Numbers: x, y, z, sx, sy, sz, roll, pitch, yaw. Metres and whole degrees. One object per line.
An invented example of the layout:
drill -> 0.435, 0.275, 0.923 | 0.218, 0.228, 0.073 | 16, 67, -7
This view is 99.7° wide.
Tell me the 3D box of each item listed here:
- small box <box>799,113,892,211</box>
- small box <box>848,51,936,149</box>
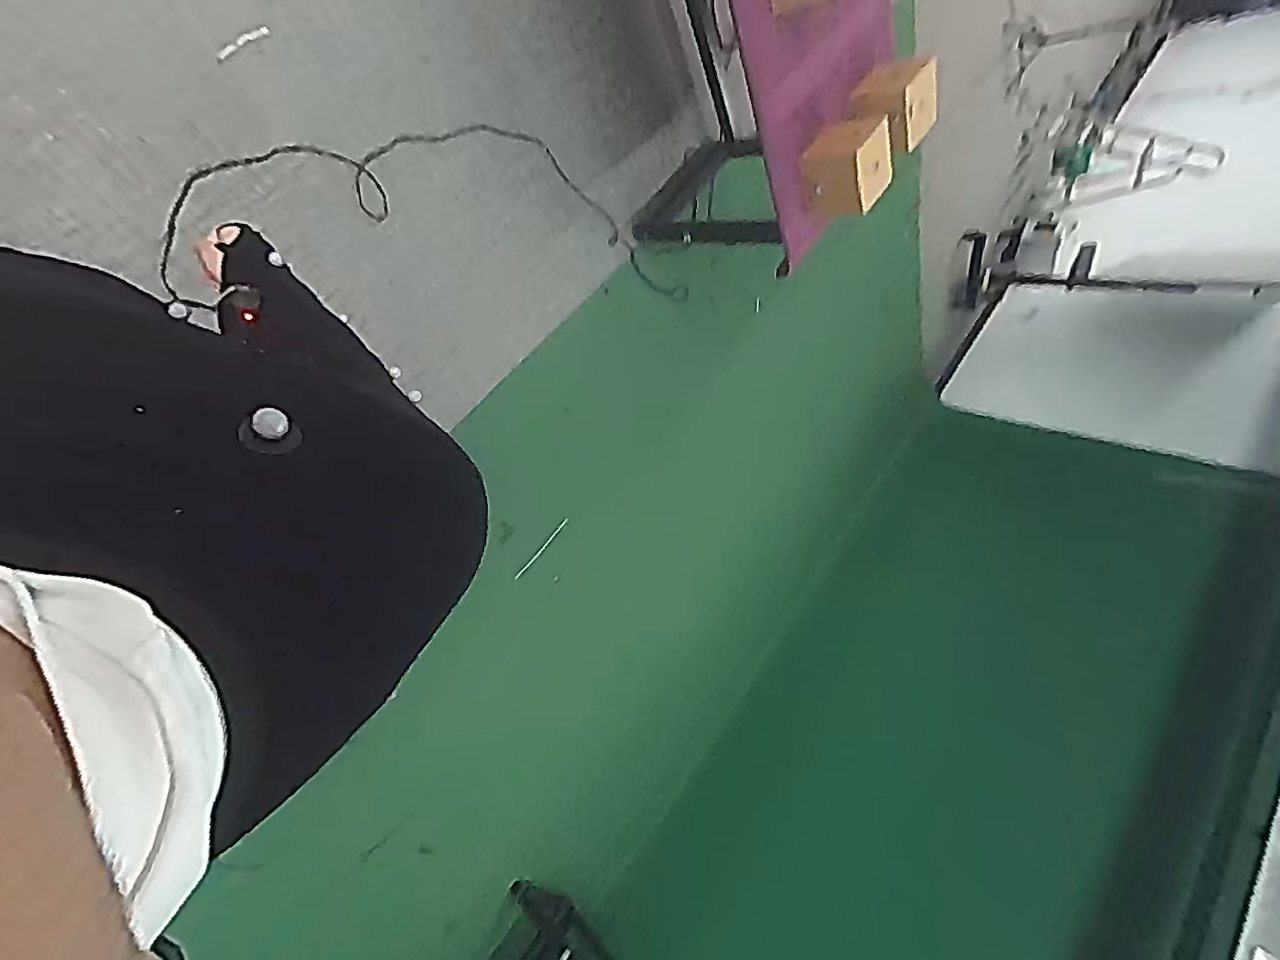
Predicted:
small box -> 0.553, -0.850, 1.456 | 0.179, 0.176, 0.168 | -50, 135, -18
small box -> 0.713, -1.065, 1.529 | 0.179, 0.176, 0.168 | -52, 136, -16
